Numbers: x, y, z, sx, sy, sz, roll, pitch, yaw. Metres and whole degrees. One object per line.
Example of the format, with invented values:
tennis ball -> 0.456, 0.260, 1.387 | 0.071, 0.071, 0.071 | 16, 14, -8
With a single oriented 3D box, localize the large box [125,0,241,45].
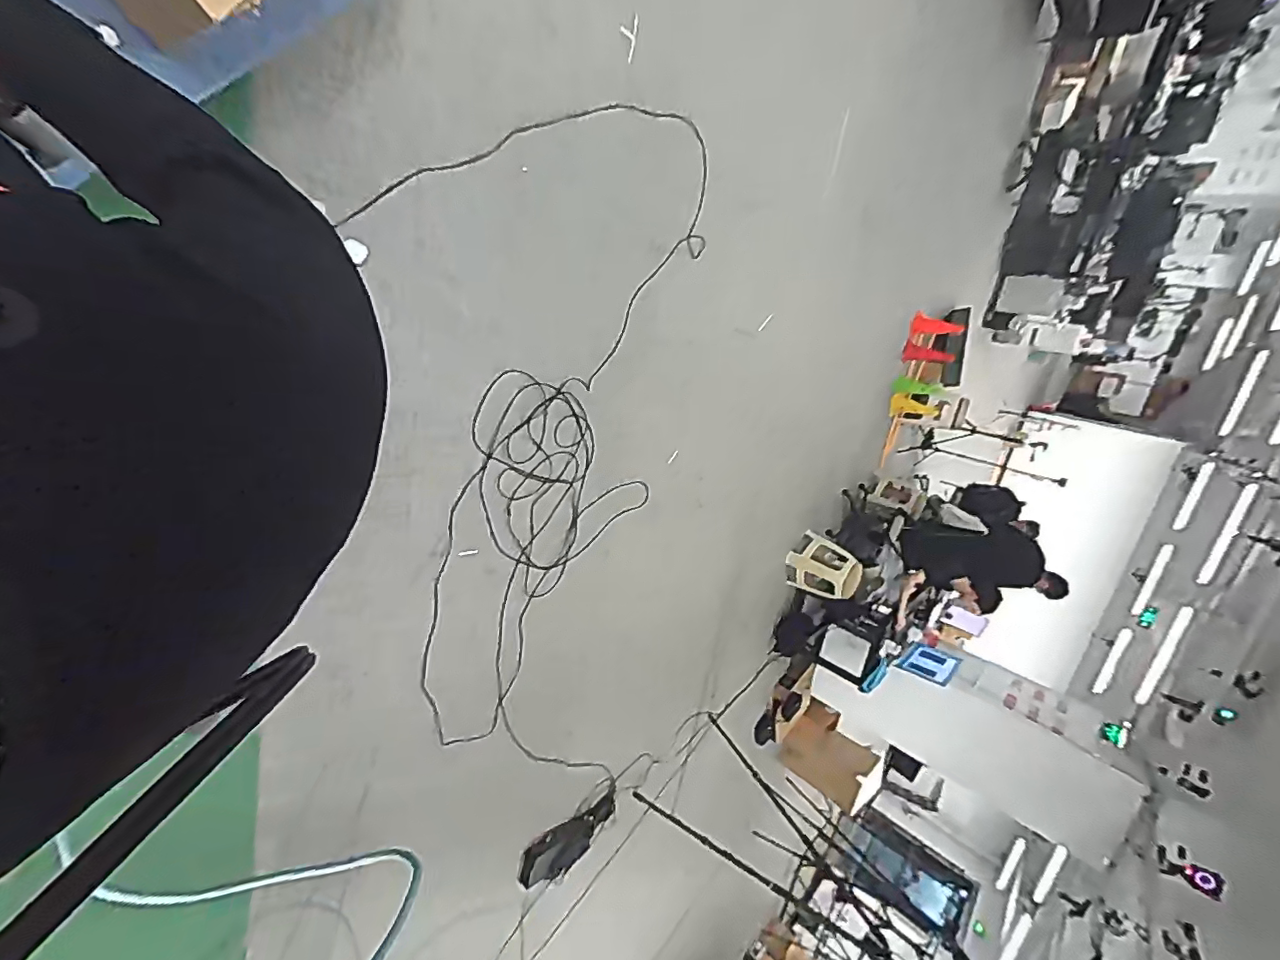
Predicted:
large box -> -0.652, -0.874, 0.675 | 0.320, 0.320, 0.408 | -55, 141, -15
